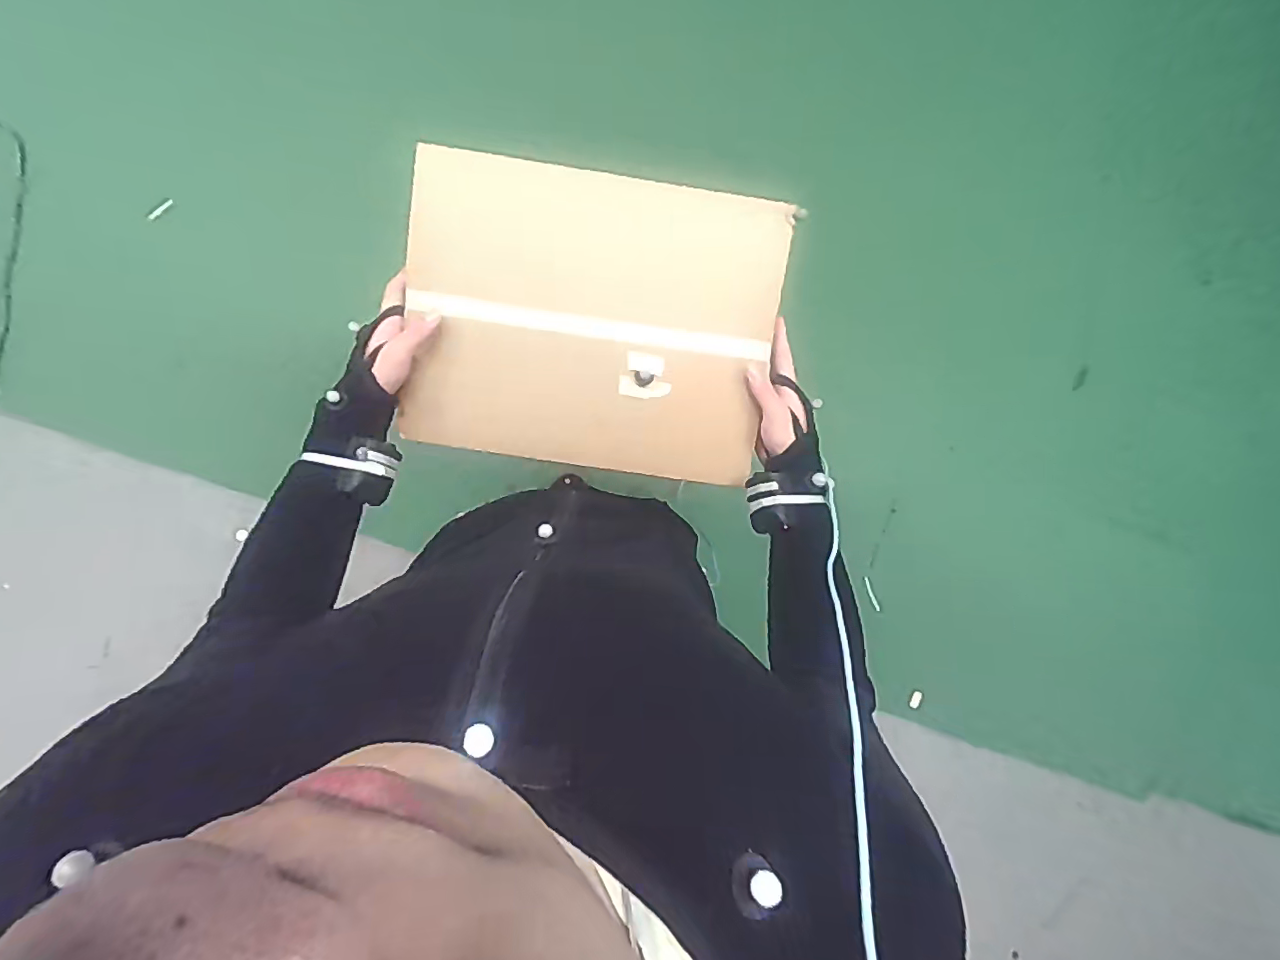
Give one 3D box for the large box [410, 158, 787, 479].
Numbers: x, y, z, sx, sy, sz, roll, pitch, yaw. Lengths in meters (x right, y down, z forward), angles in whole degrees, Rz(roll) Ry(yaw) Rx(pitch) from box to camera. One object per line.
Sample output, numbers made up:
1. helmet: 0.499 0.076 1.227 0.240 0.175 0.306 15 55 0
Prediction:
1. large box: -0.058 -0.198 0.756 0.408 0.320 0.320 8 100 -3
